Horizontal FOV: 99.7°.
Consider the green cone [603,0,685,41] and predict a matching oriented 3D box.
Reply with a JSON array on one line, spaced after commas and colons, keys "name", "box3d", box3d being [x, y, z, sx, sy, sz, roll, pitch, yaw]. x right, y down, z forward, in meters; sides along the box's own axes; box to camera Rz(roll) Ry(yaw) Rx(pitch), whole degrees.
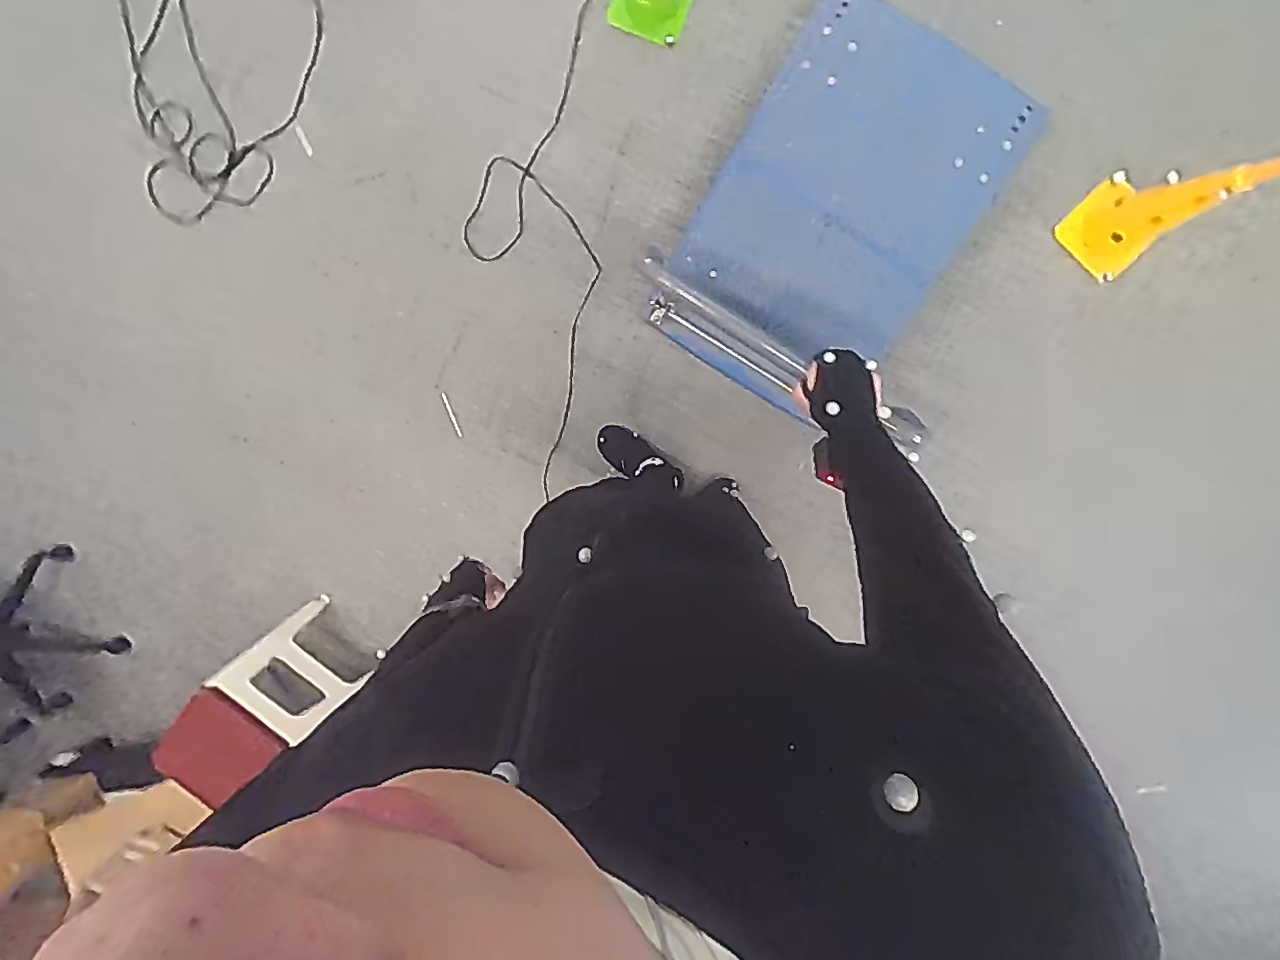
[{"name": "green cone", "box3d": [0.000, -1.236, 1.225, 0.202, 0.368, 0.200, 23, 101, 3]}]
